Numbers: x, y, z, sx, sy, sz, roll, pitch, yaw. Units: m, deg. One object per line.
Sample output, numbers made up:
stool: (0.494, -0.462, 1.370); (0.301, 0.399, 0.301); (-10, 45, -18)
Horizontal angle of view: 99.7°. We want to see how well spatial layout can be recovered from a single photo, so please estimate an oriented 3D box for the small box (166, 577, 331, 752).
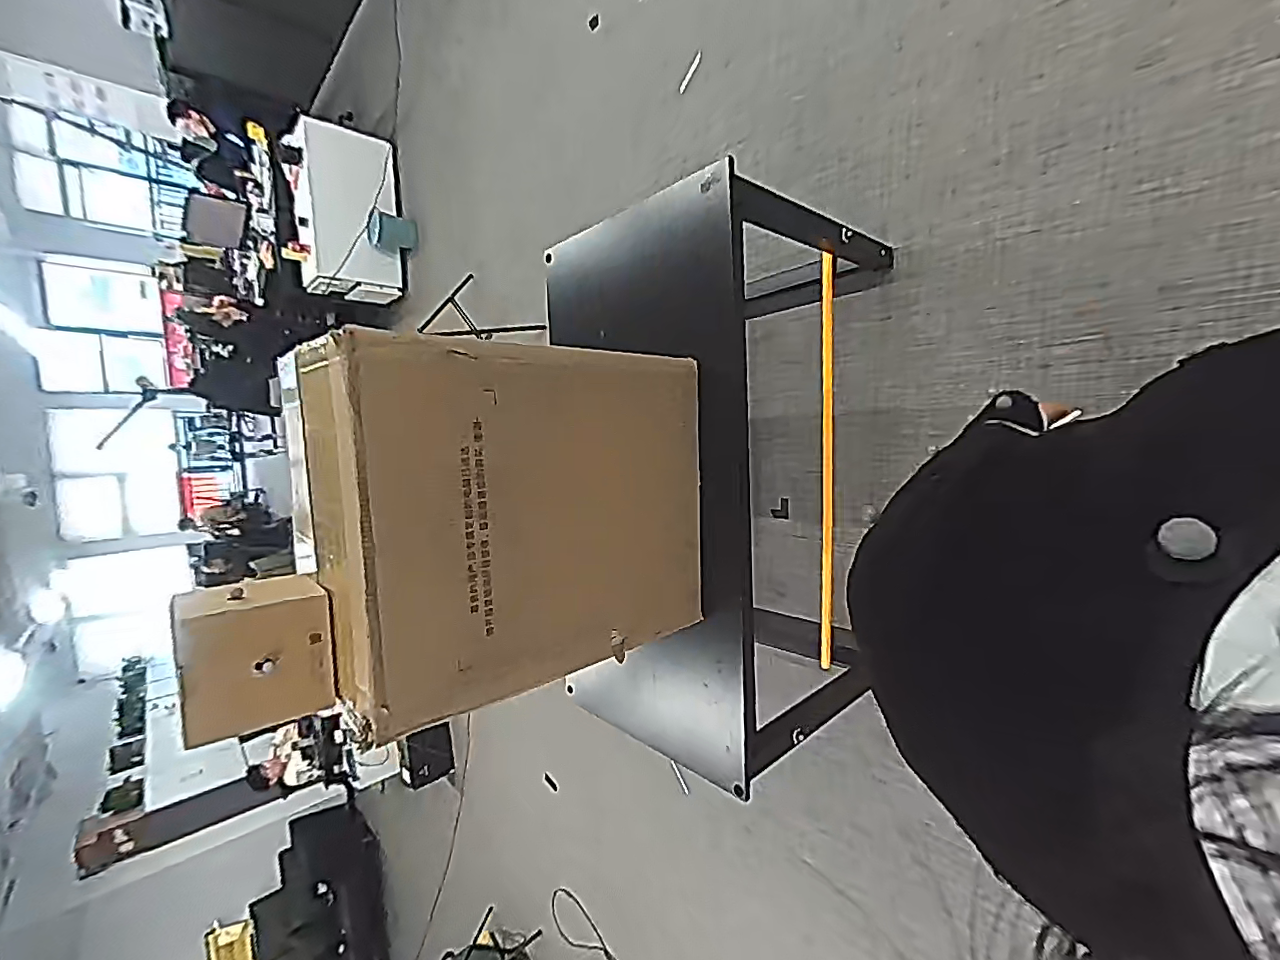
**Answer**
small box: (-0.546, 0.241, 0.762); (0.179, 0.176, 0.168); (2, 95, 49)
